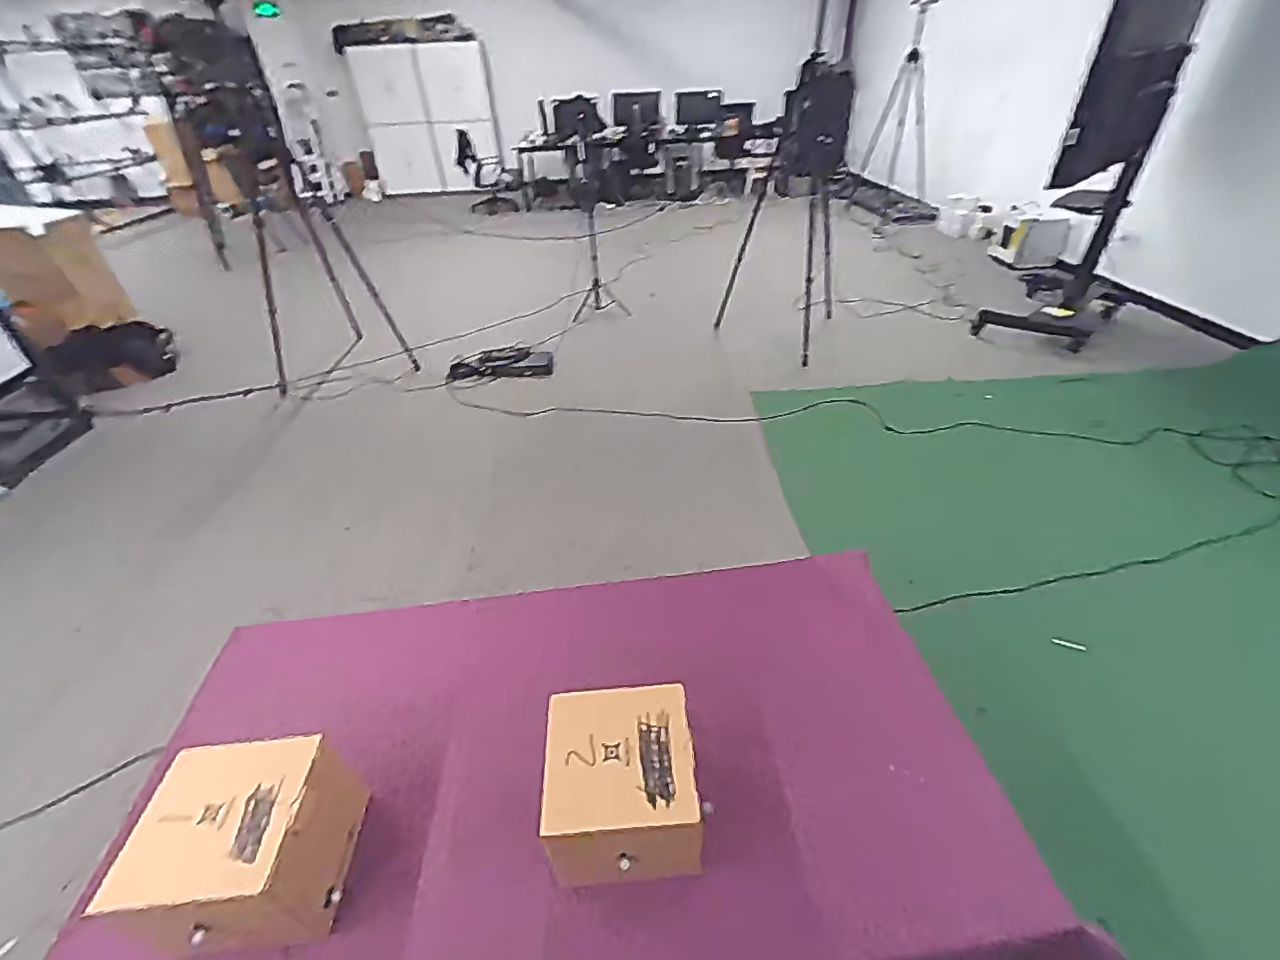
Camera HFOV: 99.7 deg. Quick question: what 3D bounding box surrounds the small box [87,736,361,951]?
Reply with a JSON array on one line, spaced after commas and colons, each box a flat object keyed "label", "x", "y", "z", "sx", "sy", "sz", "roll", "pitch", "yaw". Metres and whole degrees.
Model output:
[{"label": "small box", "x": -0.469, "y": 0.437, "z": 0.653, "sx": 0.179, "sy": 0.176, "sz": 0.168, "roll": -5, "pitch": 37, "yaw": -2}]
